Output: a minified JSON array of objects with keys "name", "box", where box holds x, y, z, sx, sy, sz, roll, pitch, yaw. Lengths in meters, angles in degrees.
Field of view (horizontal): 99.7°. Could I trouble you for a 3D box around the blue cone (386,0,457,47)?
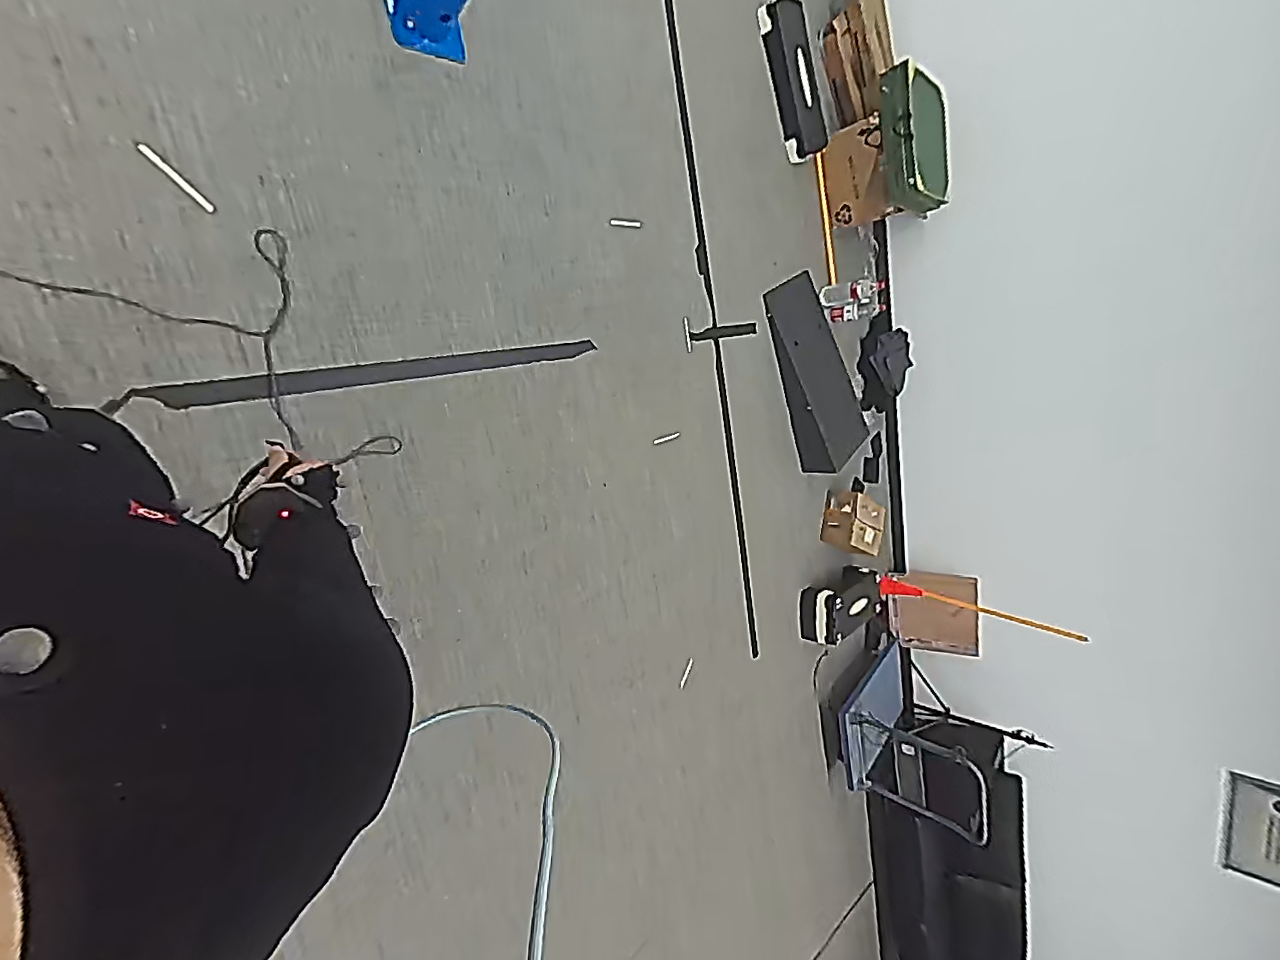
[{"name":"blue cone","box":[-0.443,-1.212,1.251,0.193,0.380,0.192,-21,106,-44]}]
